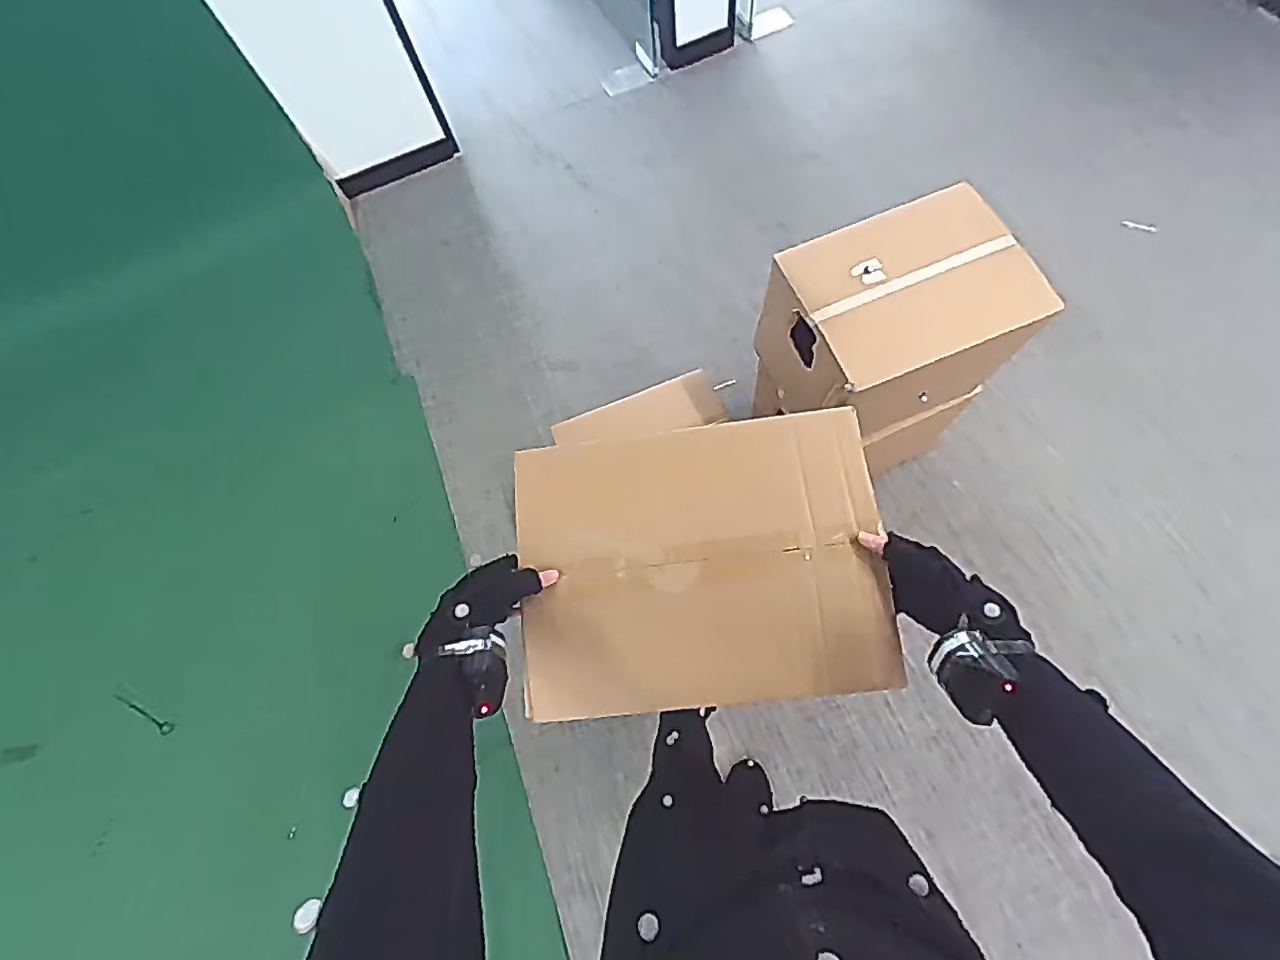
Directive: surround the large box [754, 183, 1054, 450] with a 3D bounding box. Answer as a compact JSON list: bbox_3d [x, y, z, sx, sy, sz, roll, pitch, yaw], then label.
[{"bbox_3d":[0.495,-0.311,1.112,0.408,0.320,0.320,-22,72,-1],"label":"large box"}]
